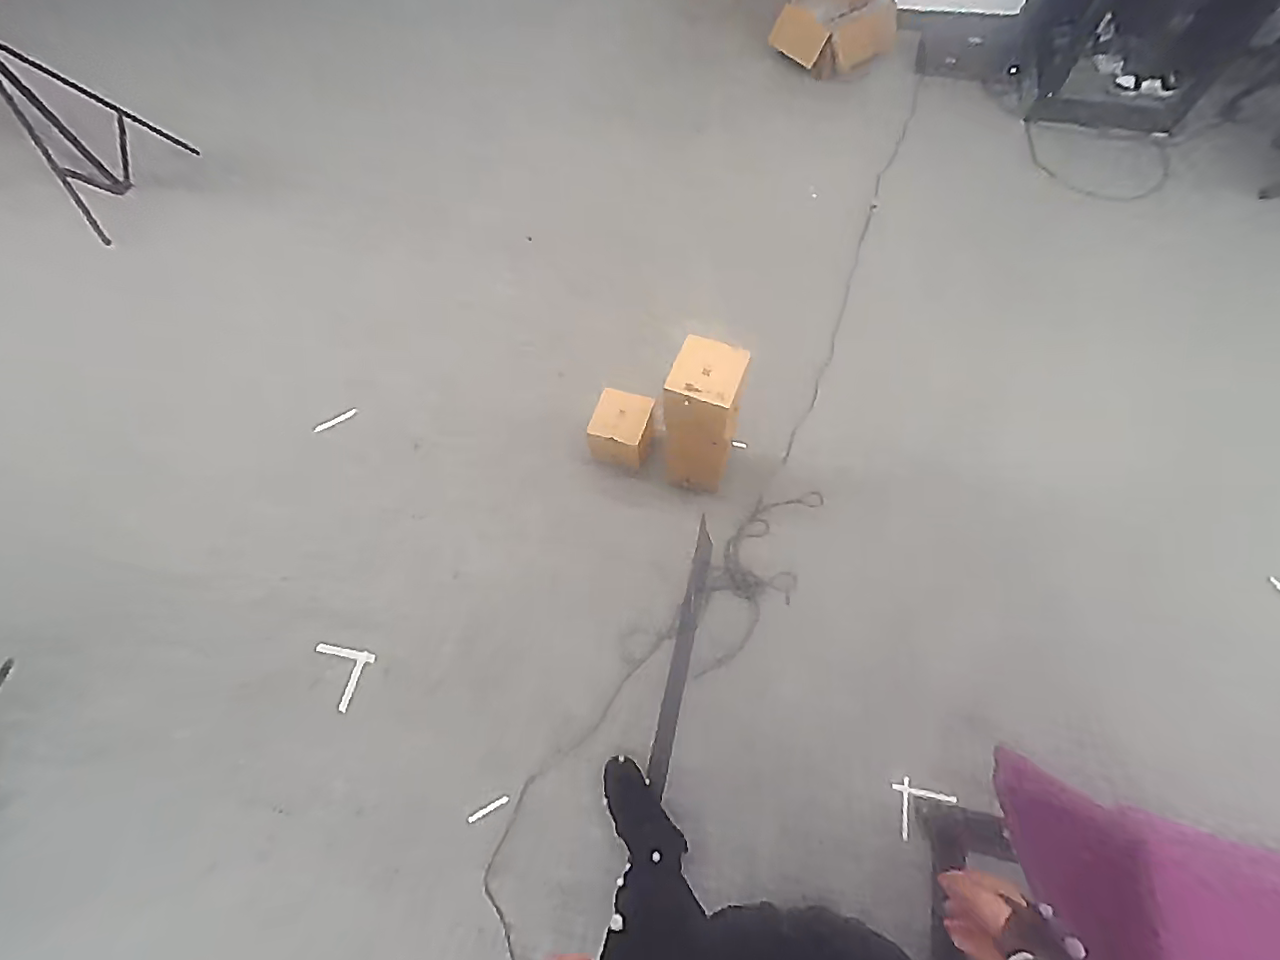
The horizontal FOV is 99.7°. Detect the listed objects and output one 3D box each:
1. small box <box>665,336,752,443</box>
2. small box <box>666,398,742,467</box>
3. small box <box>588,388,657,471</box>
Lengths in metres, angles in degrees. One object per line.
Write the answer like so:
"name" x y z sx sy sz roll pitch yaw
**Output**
"small box" 0.166 -0.223 1.356 0.168 0.176 0.179 20 66 12
"small box" 0.176 -0.154 1.504 0.179 0.176 0.168 13 66 9
"small box" -0.051 -0.156 1.692 0.168 0.176 0.179 16 67 10
